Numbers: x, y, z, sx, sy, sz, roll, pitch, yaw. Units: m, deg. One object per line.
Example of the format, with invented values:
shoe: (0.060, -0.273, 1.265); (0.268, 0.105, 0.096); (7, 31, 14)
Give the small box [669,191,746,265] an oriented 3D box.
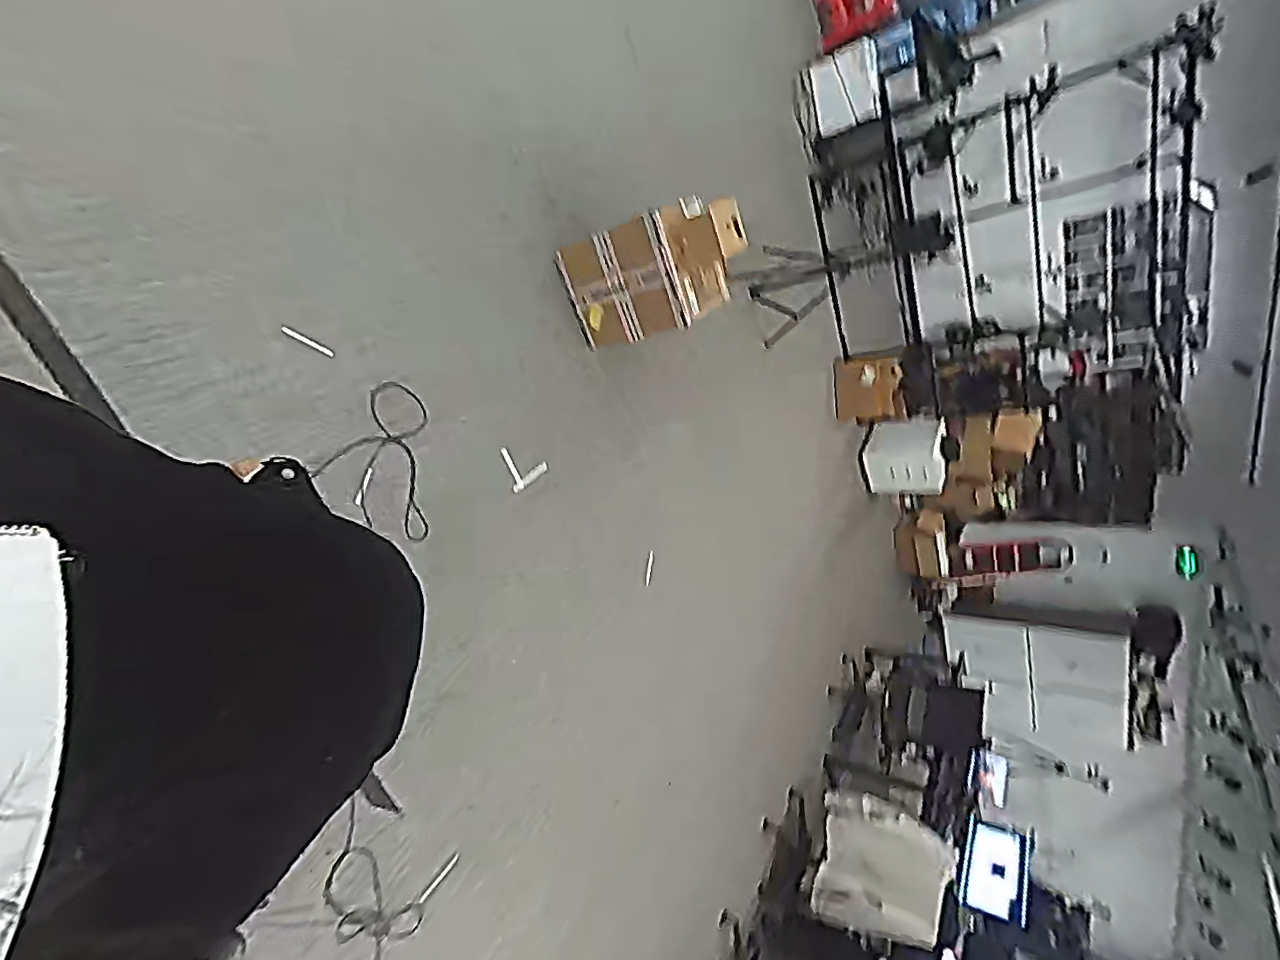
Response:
small box: (0.226, -0.847, 1.820); (0.179, 0.176, 0.168); (-42, 119, -38)
